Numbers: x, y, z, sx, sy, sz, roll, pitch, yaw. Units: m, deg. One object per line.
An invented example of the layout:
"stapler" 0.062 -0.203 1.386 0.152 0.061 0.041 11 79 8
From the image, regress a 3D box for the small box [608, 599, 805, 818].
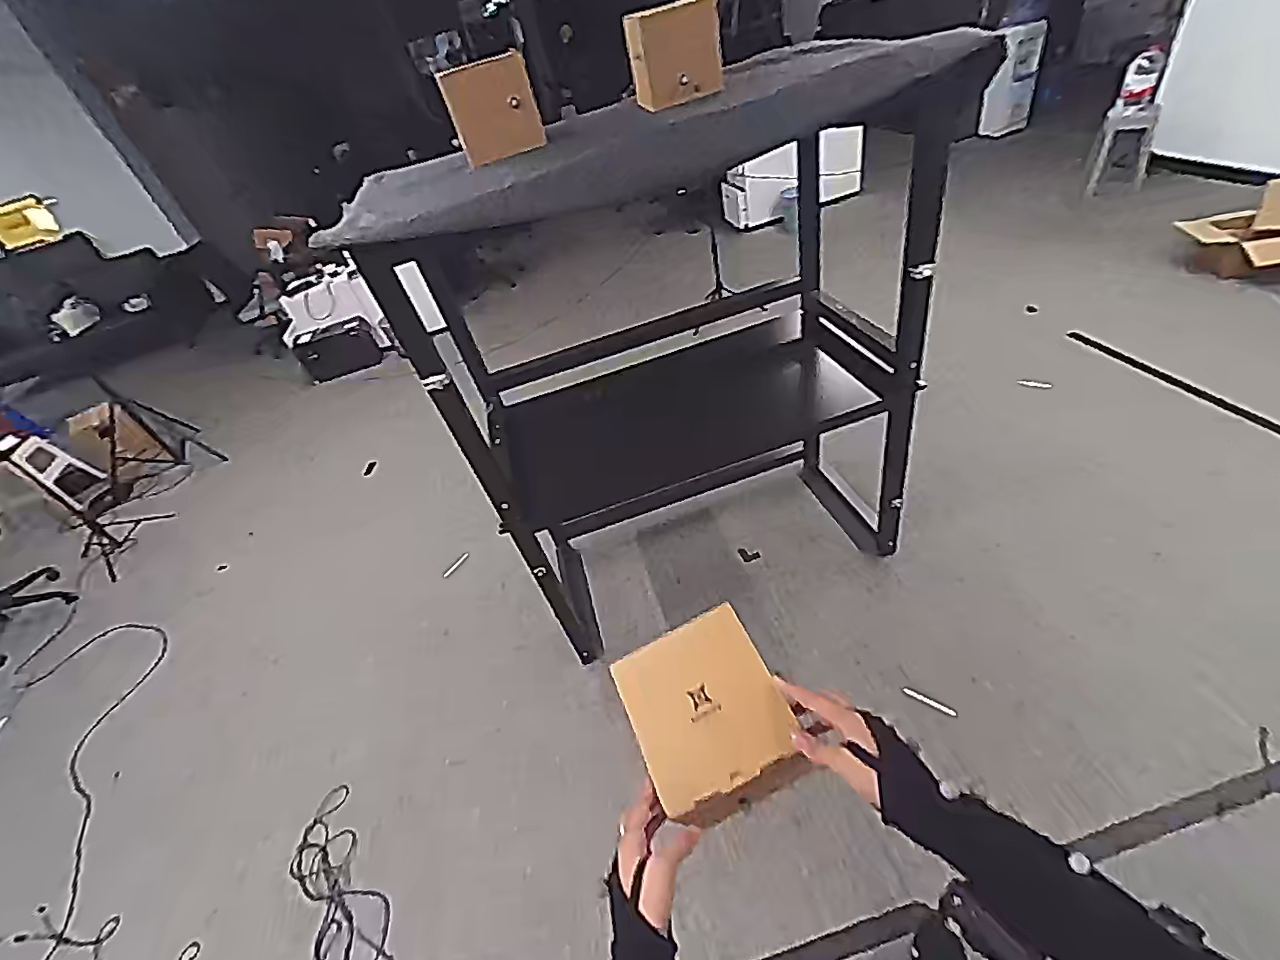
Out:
"small box" 0.084 0.284 0.663 0.168 0.176 0.179 -28 52 -2

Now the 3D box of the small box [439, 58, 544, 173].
"small box" -0.320 -0.799 1.186 0.179 0.176 0.168 -21 41 -6
